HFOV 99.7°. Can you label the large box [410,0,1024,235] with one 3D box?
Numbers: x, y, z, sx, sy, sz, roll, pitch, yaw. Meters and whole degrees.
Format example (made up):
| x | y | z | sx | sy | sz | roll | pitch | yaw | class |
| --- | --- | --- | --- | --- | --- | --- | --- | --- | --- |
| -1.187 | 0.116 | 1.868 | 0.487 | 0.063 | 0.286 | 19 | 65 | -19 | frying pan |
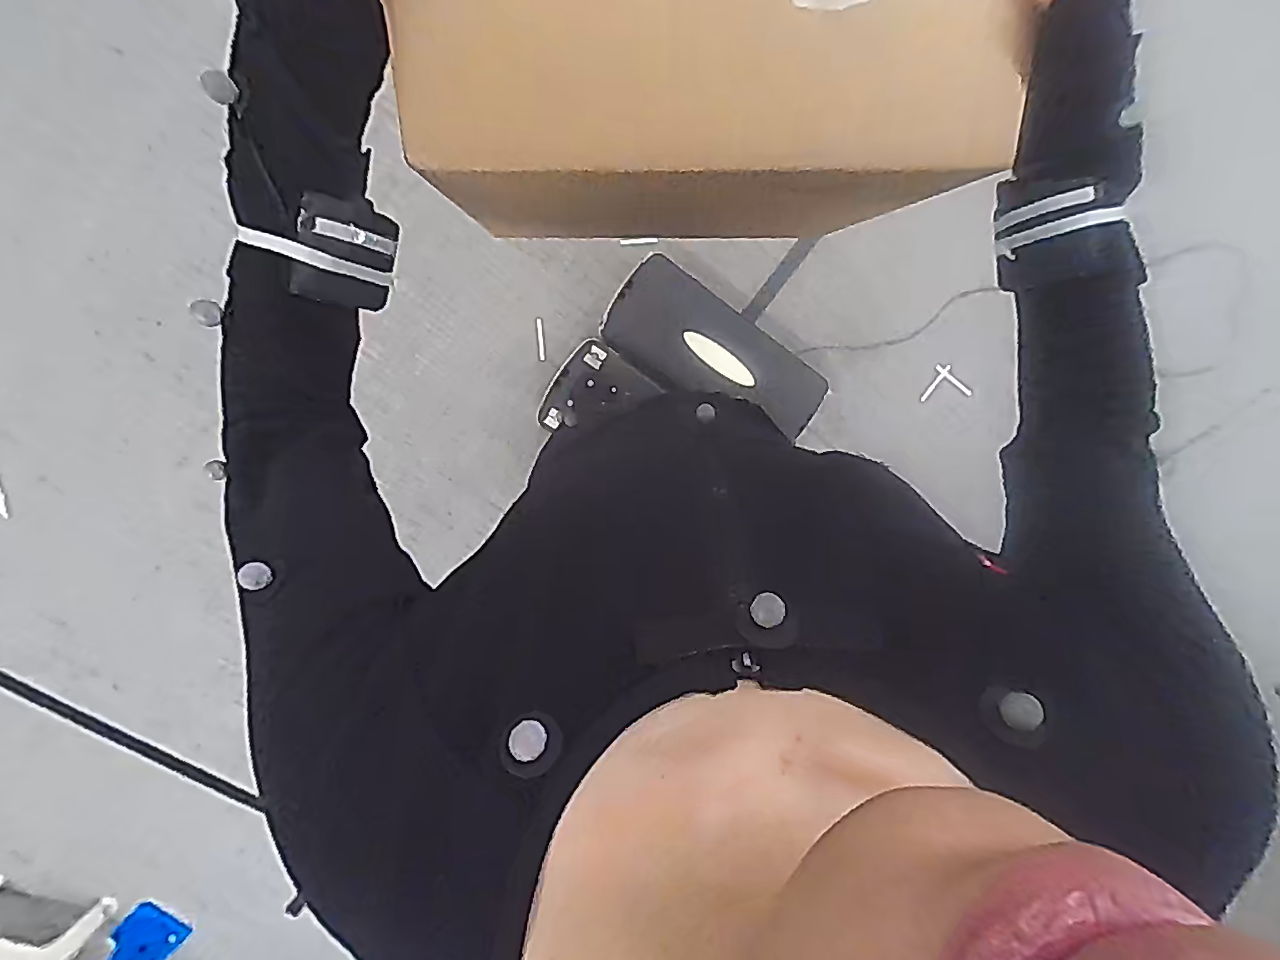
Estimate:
| x | y | z | sx | sy | sz | roll | pitch | yaw | class |
| --- | --- | --- | --- | --- | --- | --- | --- | --- | --- |
| 0.039 | -0.405 | 0.466 | 0.408 | 0.320 | 0.320 | -3 | 107 | -5 | large box |
